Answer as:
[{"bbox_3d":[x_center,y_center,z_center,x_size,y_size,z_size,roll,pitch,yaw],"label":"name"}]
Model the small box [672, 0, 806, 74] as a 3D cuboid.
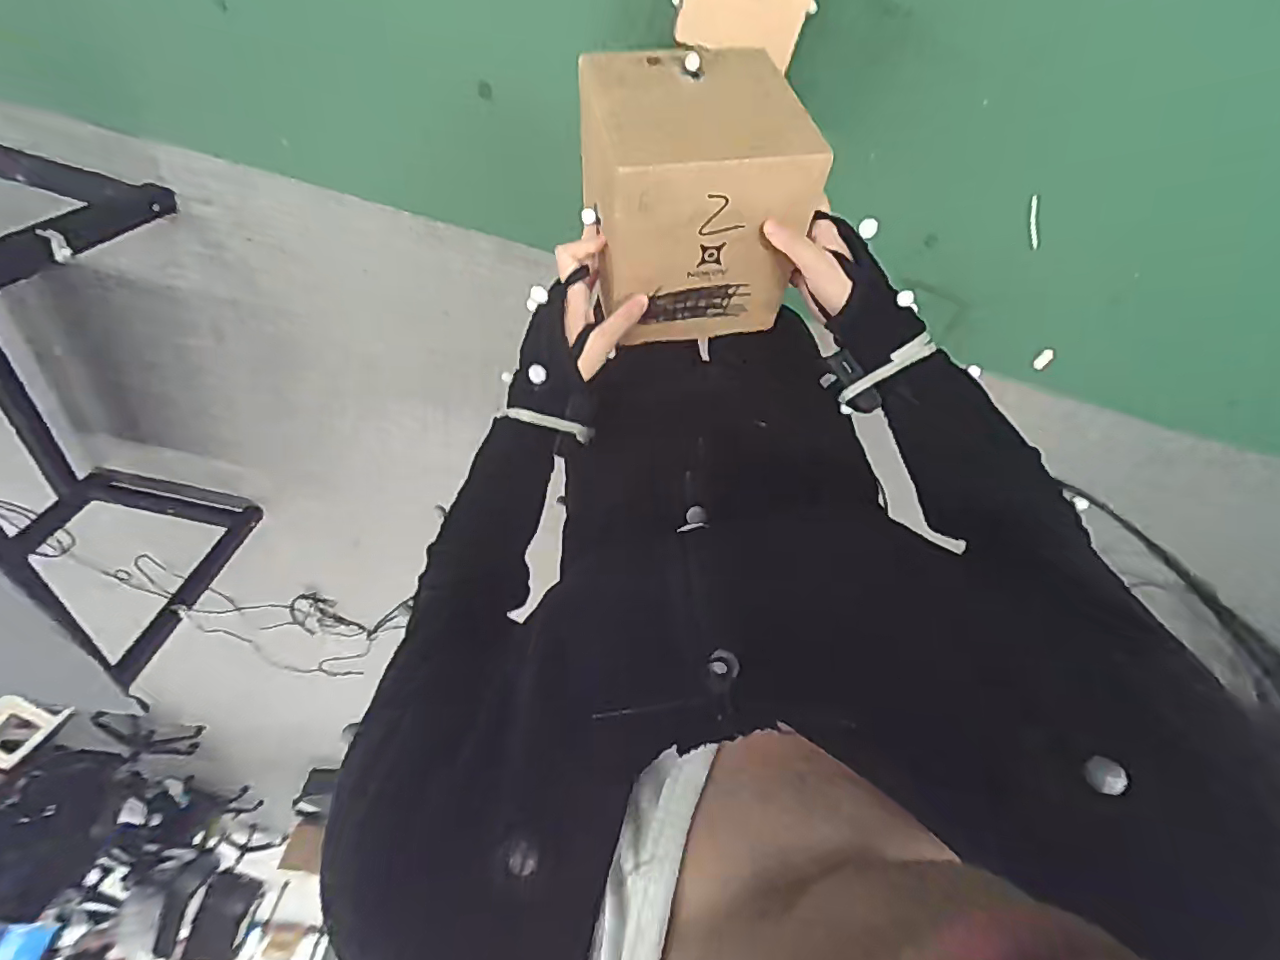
[{"bbox_3d":[0.144,-0.709,0.759,0.168,0.176,0.179,12,132,-8],"label":"small box"}]
